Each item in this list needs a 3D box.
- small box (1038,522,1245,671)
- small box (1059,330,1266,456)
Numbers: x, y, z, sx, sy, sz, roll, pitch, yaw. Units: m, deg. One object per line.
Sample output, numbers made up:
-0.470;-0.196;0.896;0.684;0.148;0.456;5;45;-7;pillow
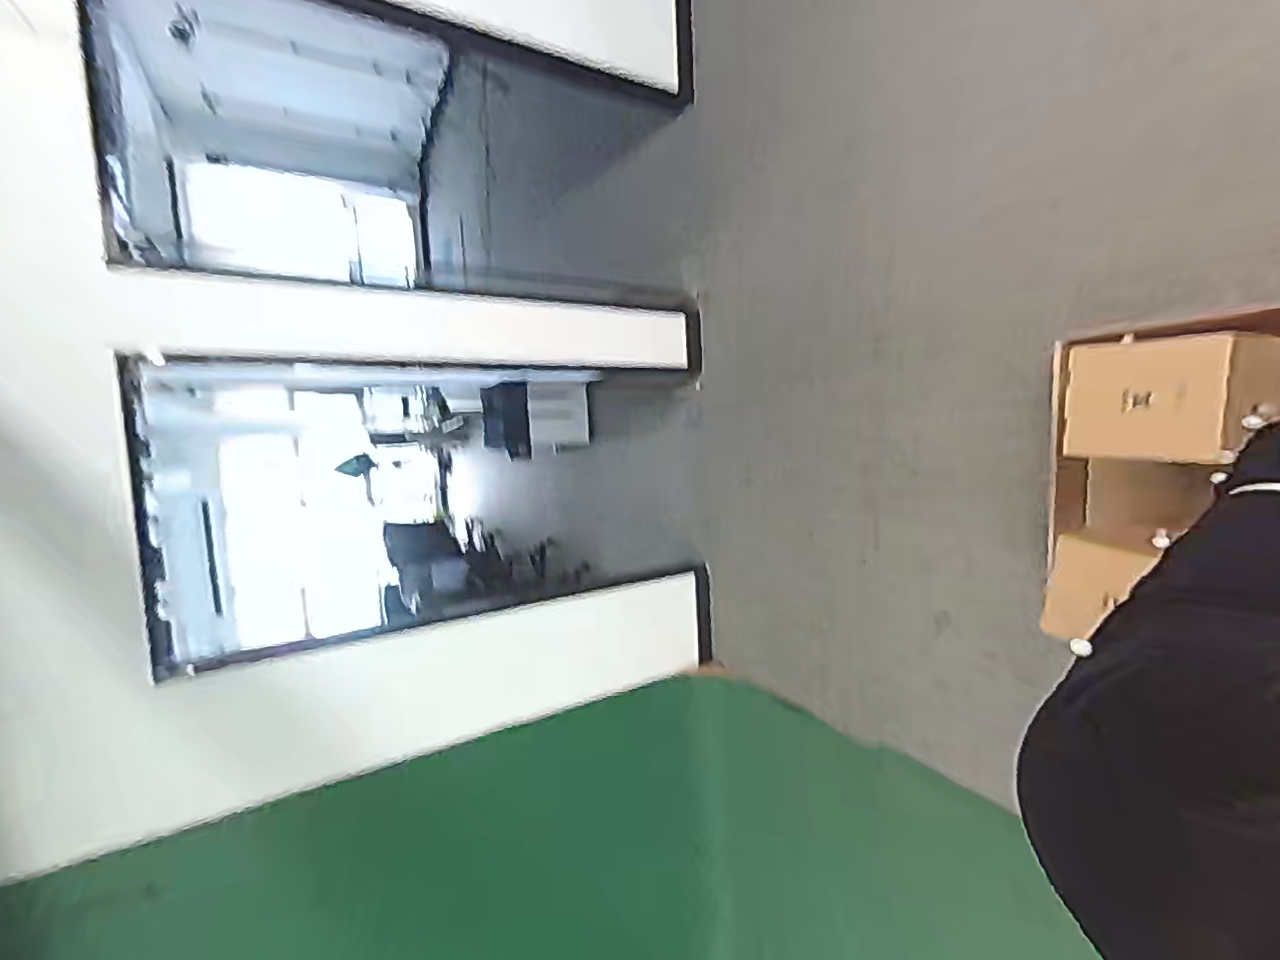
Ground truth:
0.778;0.169;0.847;0.179;0.176;0.168;23;115;59;small box
0.775;-0.127;0.810;0.179;0.176;0.168;12;106;59;small box
